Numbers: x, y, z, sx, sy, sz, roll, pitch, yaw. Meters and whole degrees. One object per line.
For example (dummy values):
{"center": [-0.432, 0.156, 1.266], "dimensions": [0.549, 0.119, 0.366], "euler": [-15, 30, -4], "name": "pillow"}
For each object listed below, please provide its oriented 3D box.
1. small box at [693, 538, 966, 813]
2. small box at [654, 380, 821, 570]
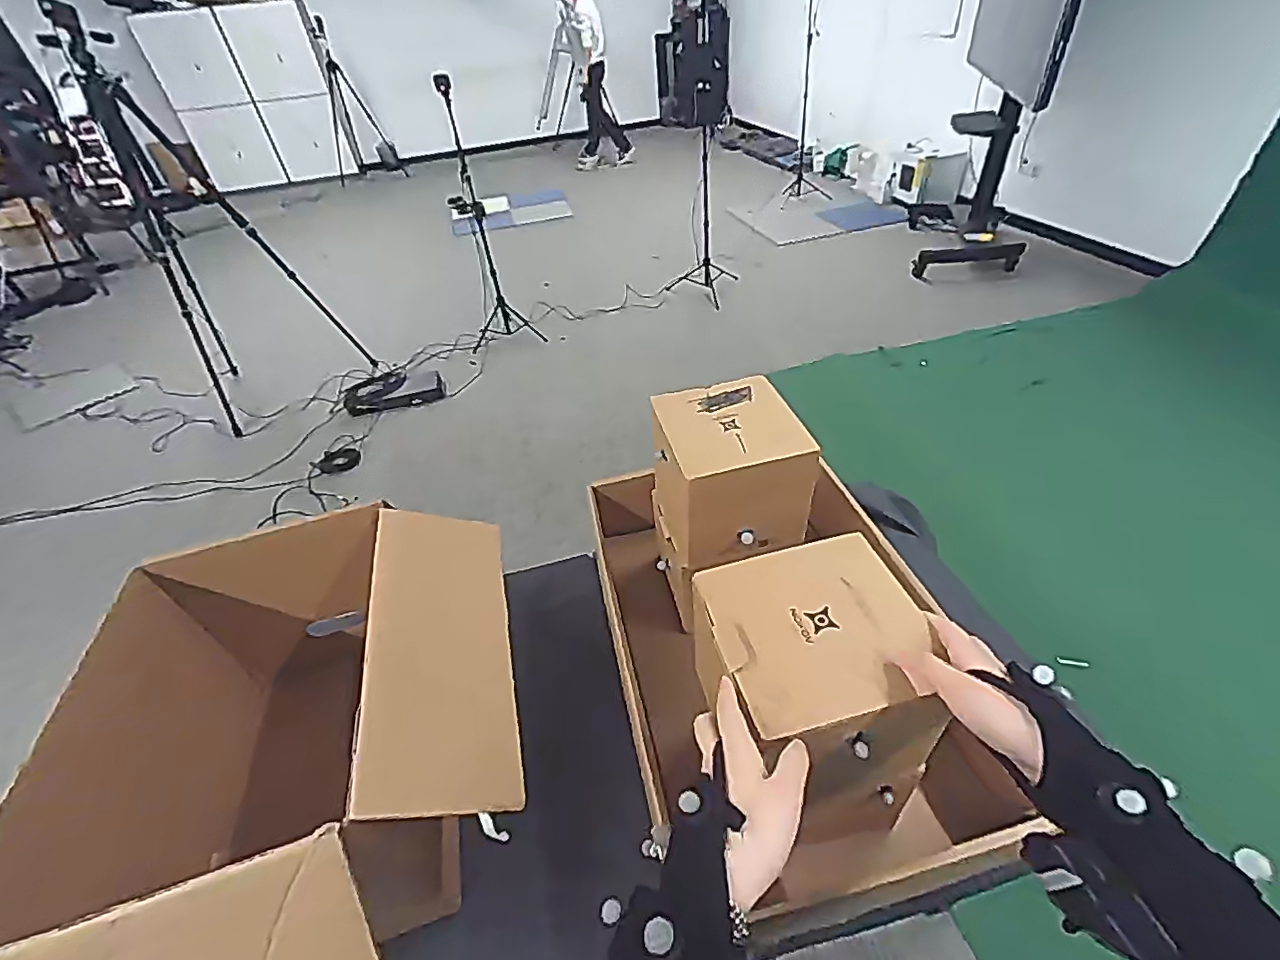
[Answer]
{"center": [0.159, 0.187, 0.518], "dimensions": [0.179, 0.176, 0.168], "euler": [-13, 42, -8], "name": "small box"}
{"center": [0.119, -0.008, 0.732], "dimensions": [0.168, 0.176, 0.179], "euler": [-12, 44, -6], "name": "small box"}
